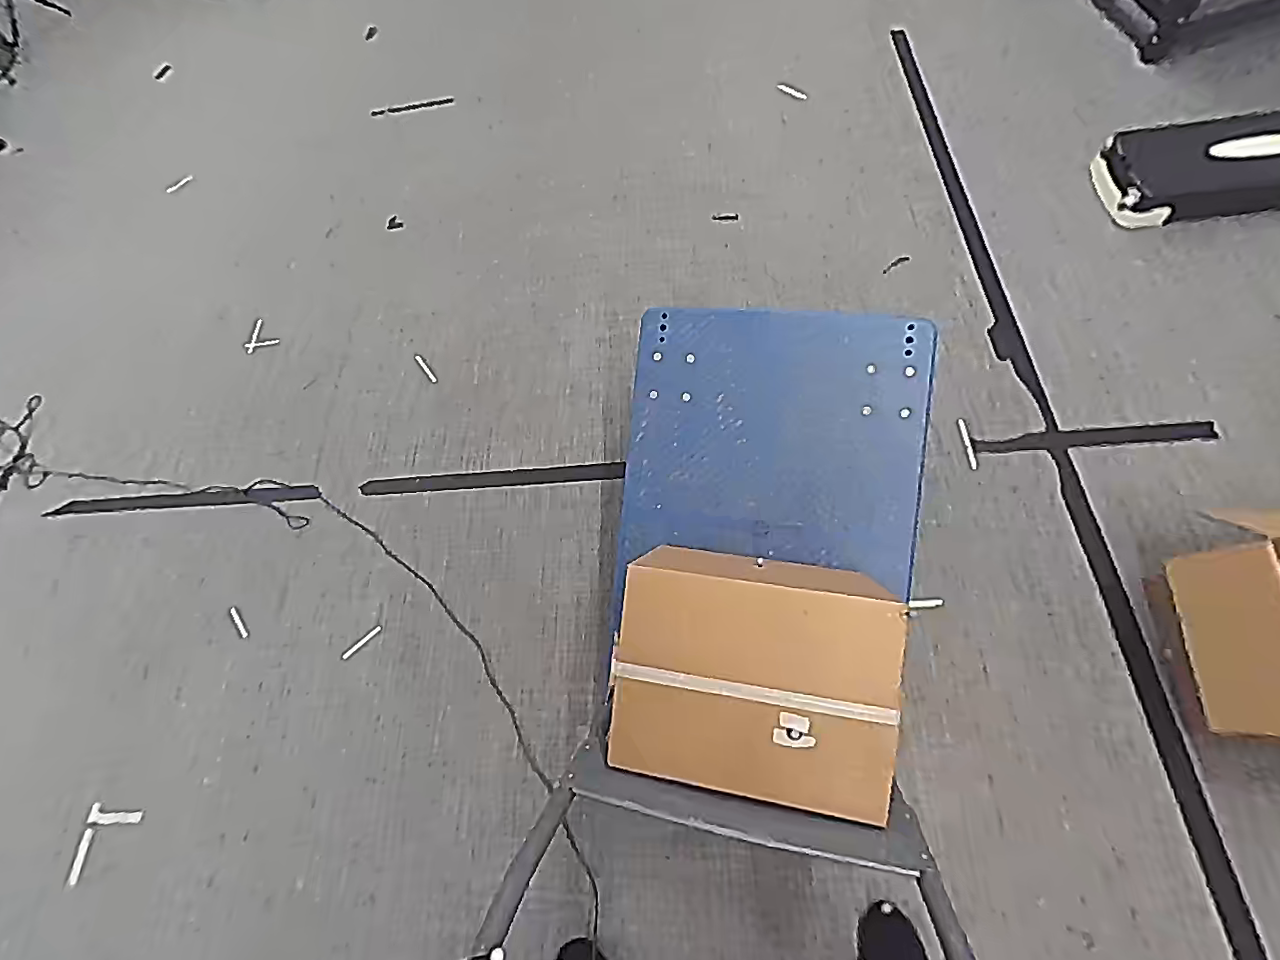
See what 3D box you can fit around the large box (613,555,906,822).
[{"bbox_3d":[0.192,0.315,0.939,0.408,0.320,0.320,6,91,11],"label":"large box"}]
